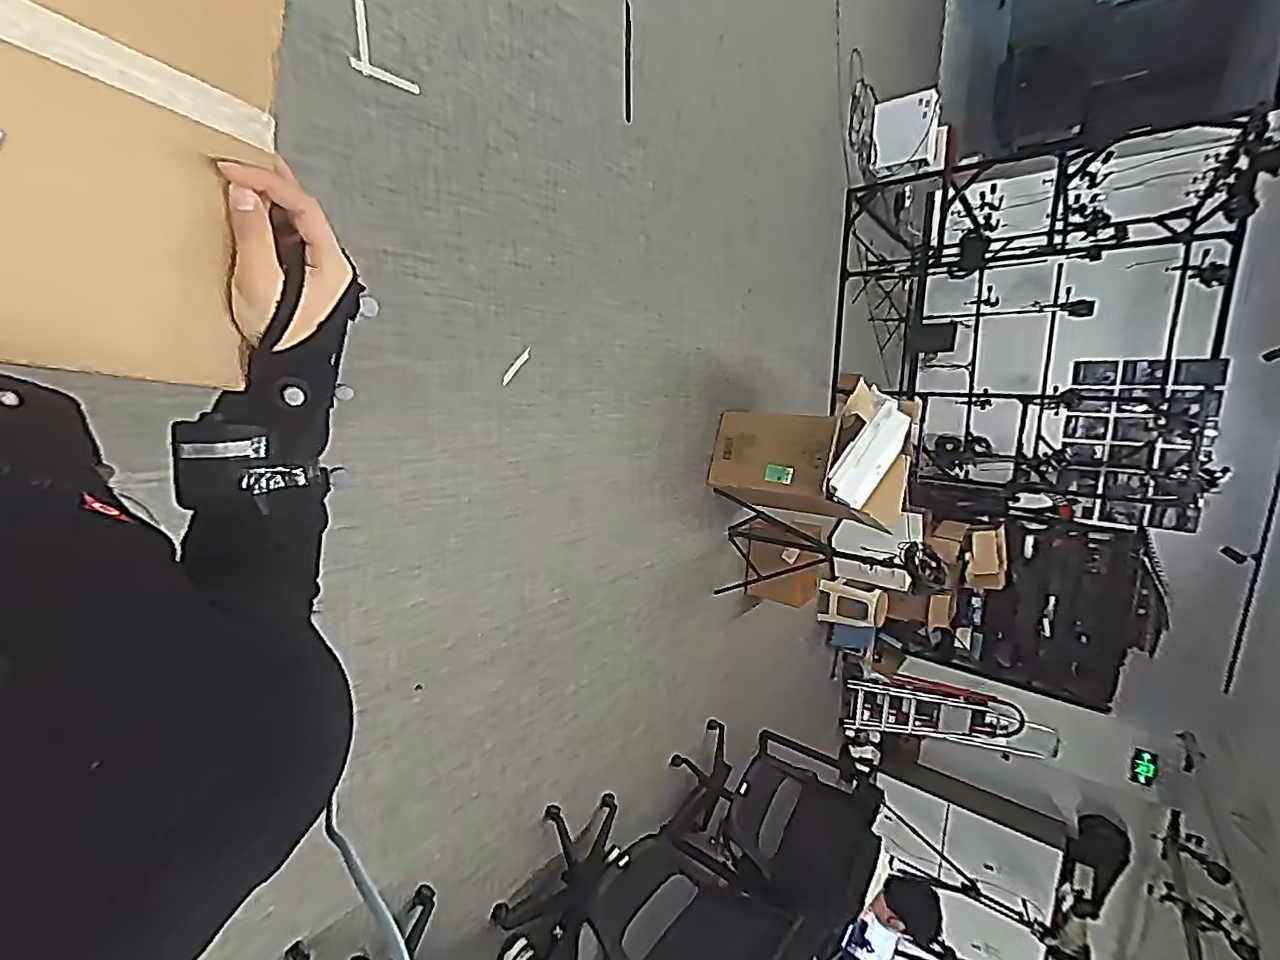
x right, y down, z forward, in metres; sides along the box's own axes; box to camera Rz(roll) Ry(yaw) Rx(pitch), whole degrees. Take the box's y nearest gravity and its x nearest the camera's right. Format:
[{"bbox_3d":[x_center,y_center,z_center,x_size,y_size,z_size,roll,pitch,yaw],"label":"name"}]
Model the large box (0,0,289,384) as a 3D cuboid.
[{"bbox_3d":[-0.467,-0.244,0.274,0.408,0.320,0.320,1,104,-53],"label":"large box"}]
